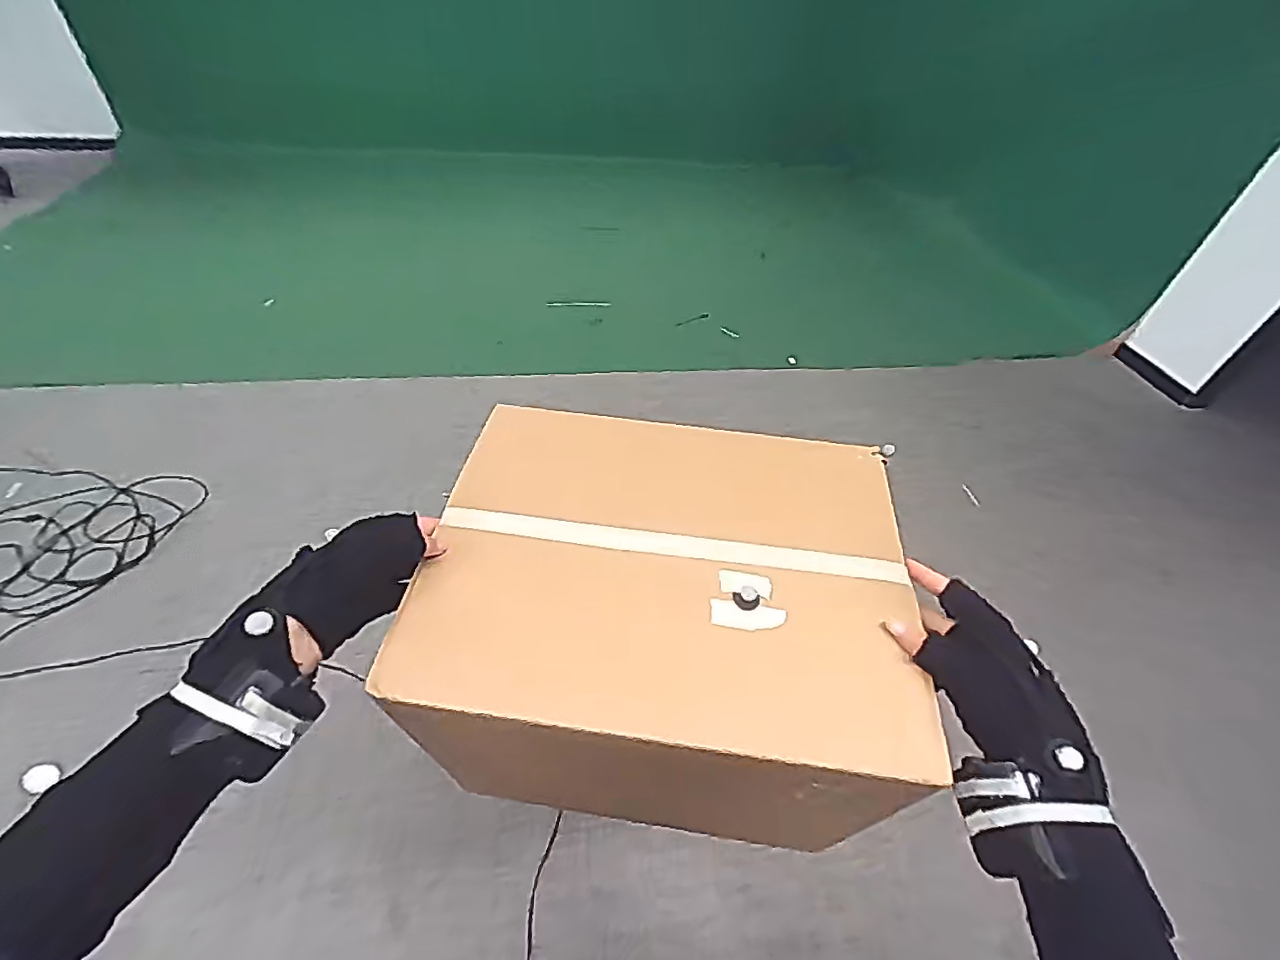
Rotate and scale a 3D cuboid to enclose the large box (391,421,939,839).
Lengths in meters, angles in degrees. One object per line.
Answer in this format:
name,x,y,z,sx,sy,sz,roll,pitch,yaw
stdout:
large box,0.024,0.164,0.592,0.408,0.320,0.320,6,49,4
